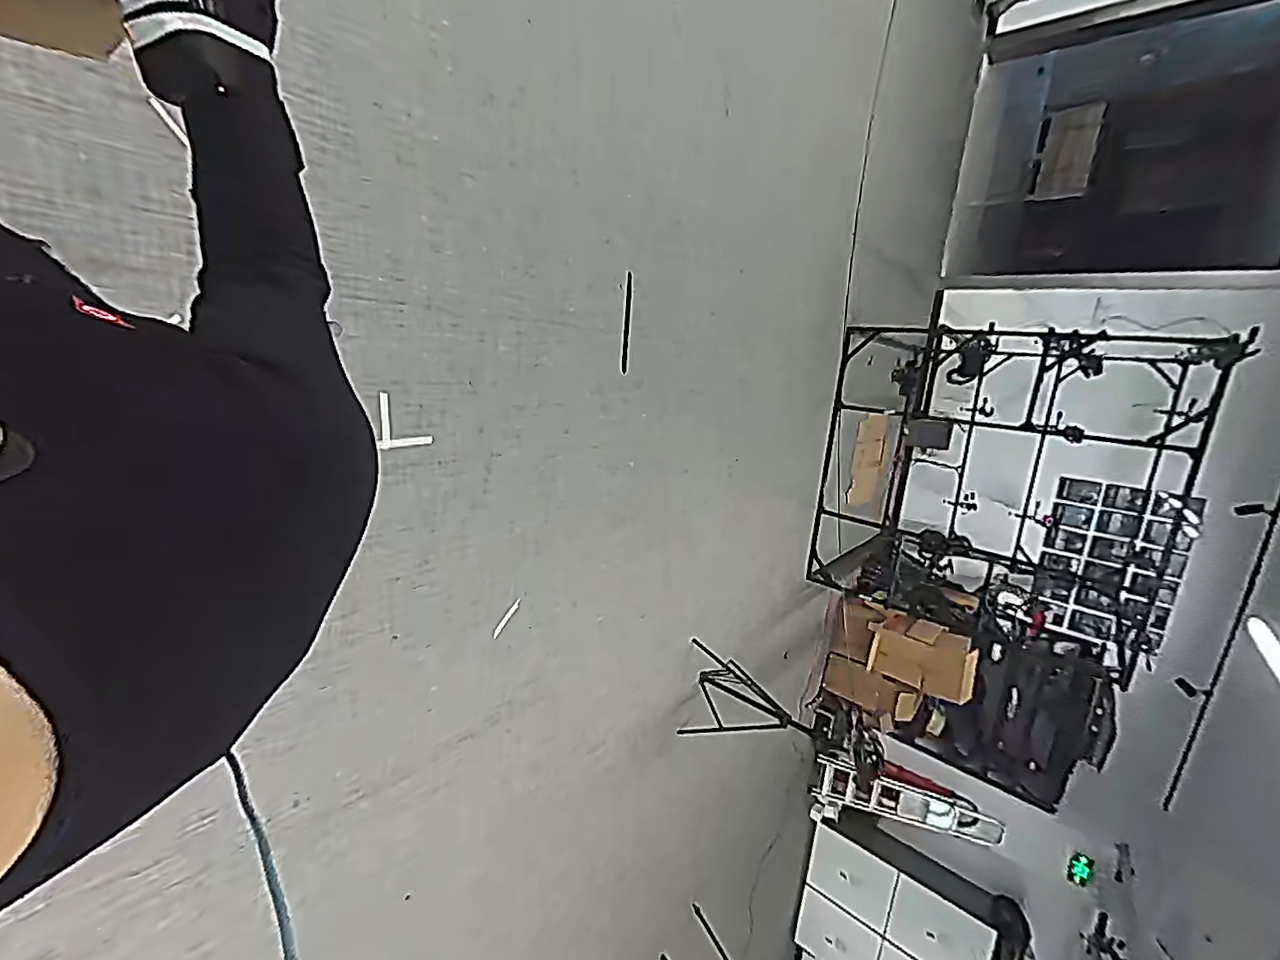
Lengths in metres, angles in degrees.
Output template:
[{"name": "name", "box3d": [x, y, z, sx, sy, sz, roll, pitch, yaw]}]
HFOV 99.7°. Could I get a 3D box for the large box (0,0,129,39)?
[{"name": "large box", "box3d": [-0.544, -0.485, 0.252, 0.408, 0.320, 0.320, -18, 122, -47]}]
